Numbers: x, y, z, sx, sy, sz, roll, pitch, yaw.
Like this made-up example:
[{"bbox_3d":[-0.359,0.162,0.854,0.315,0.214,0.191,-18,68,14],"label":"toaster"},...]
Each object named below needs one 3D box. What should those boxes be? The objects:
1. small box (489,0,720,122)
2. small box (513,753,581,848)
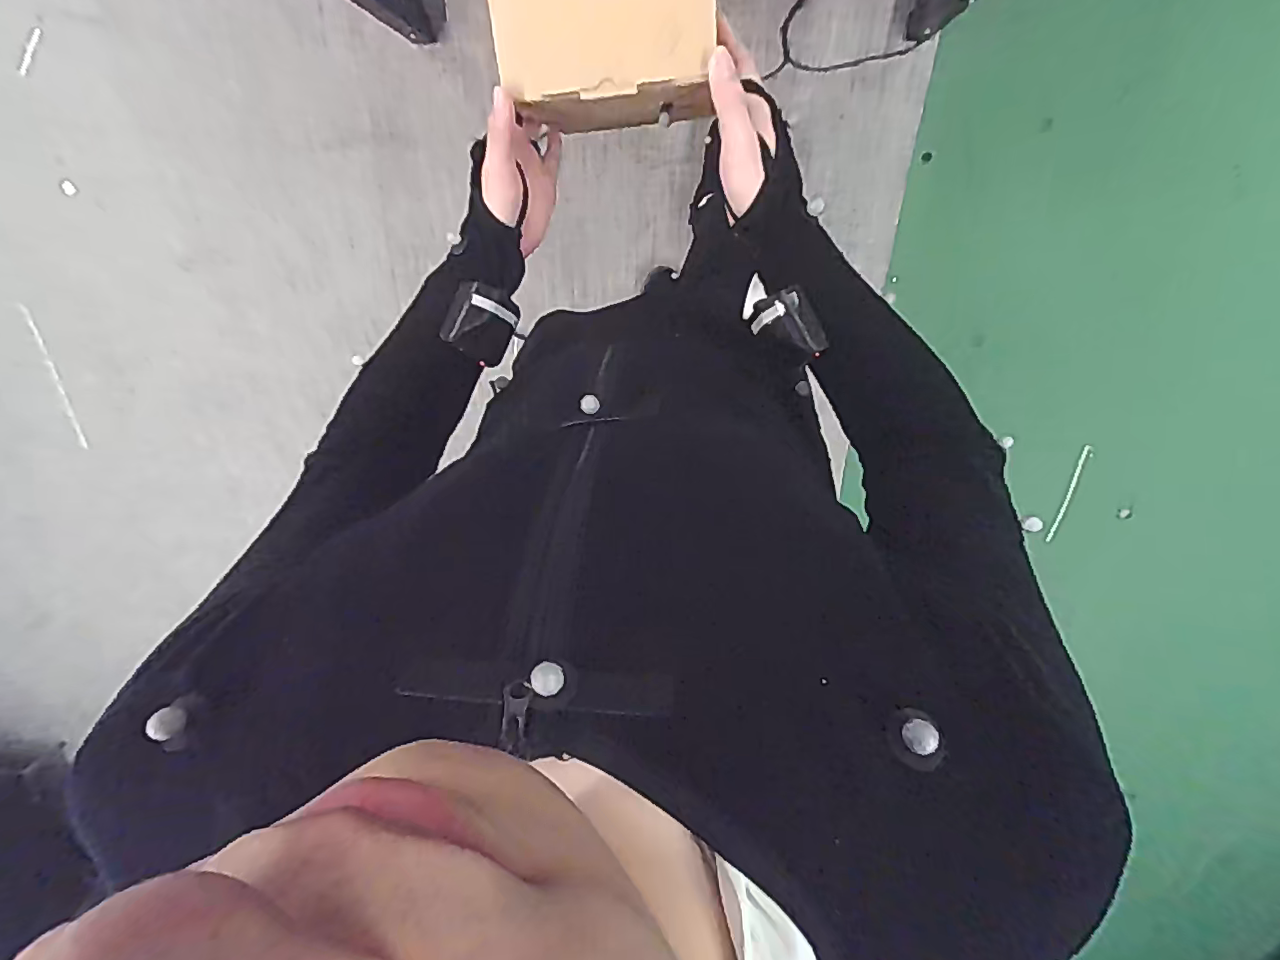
[{"bbox_3d":[-0.019,-0.408,0.442,0.168,0.176,0.179,0,115,9],"label":"small box"},{"bbox_3d":[-0.272,0.943,1.603,0.168,0.176,0.179,8,116,2],"label":"small box"}]
